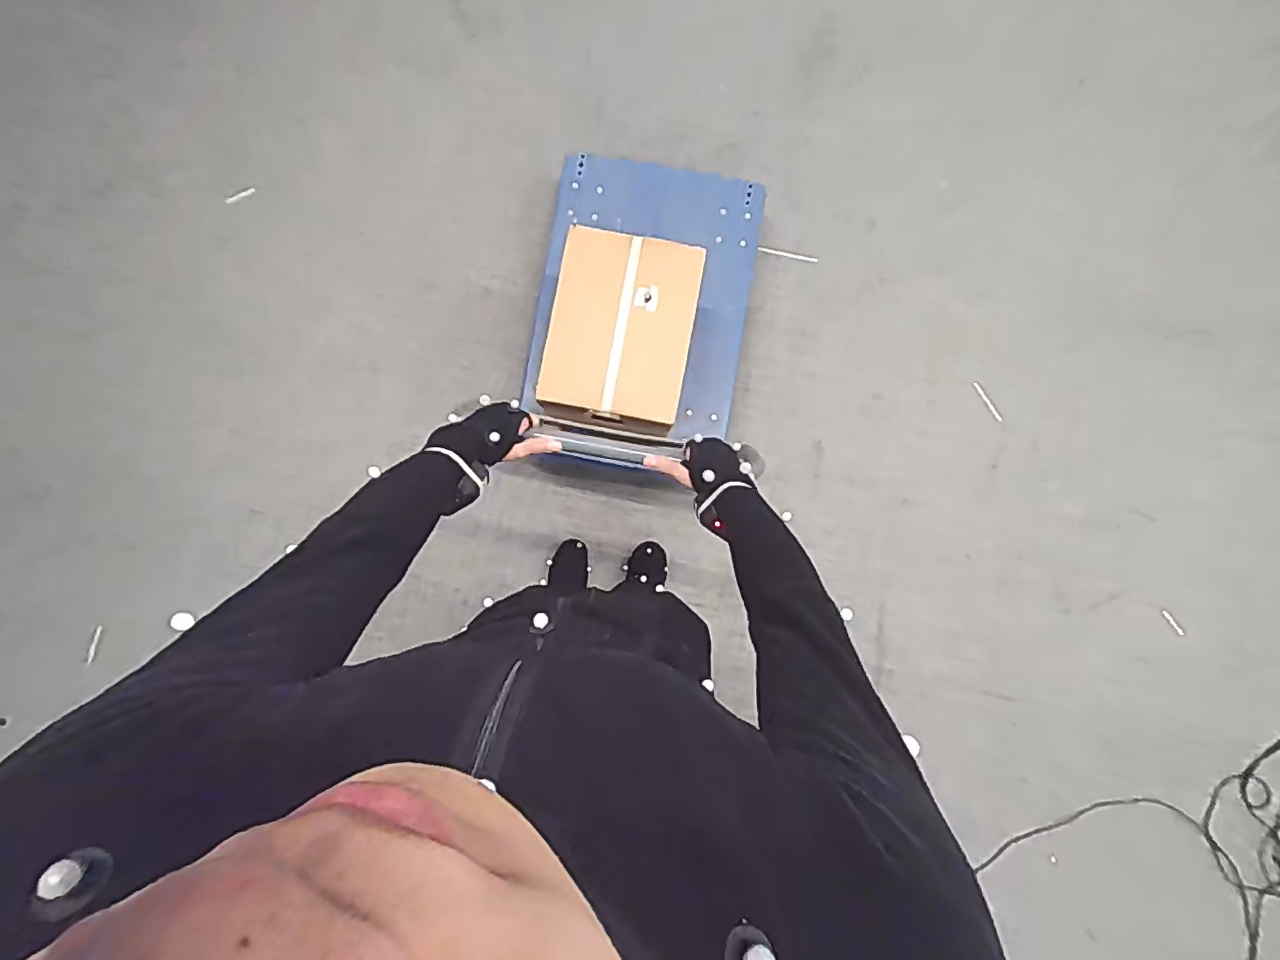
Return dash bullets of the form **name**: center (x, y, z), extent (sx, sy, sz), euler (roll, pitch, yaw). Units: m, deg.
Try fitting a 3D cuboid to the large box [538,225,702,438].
- **large box**: center (-0.044, -0.339, 1.339), extent (0.320, 0.320, 0.408), euler (10, 86, -1)
